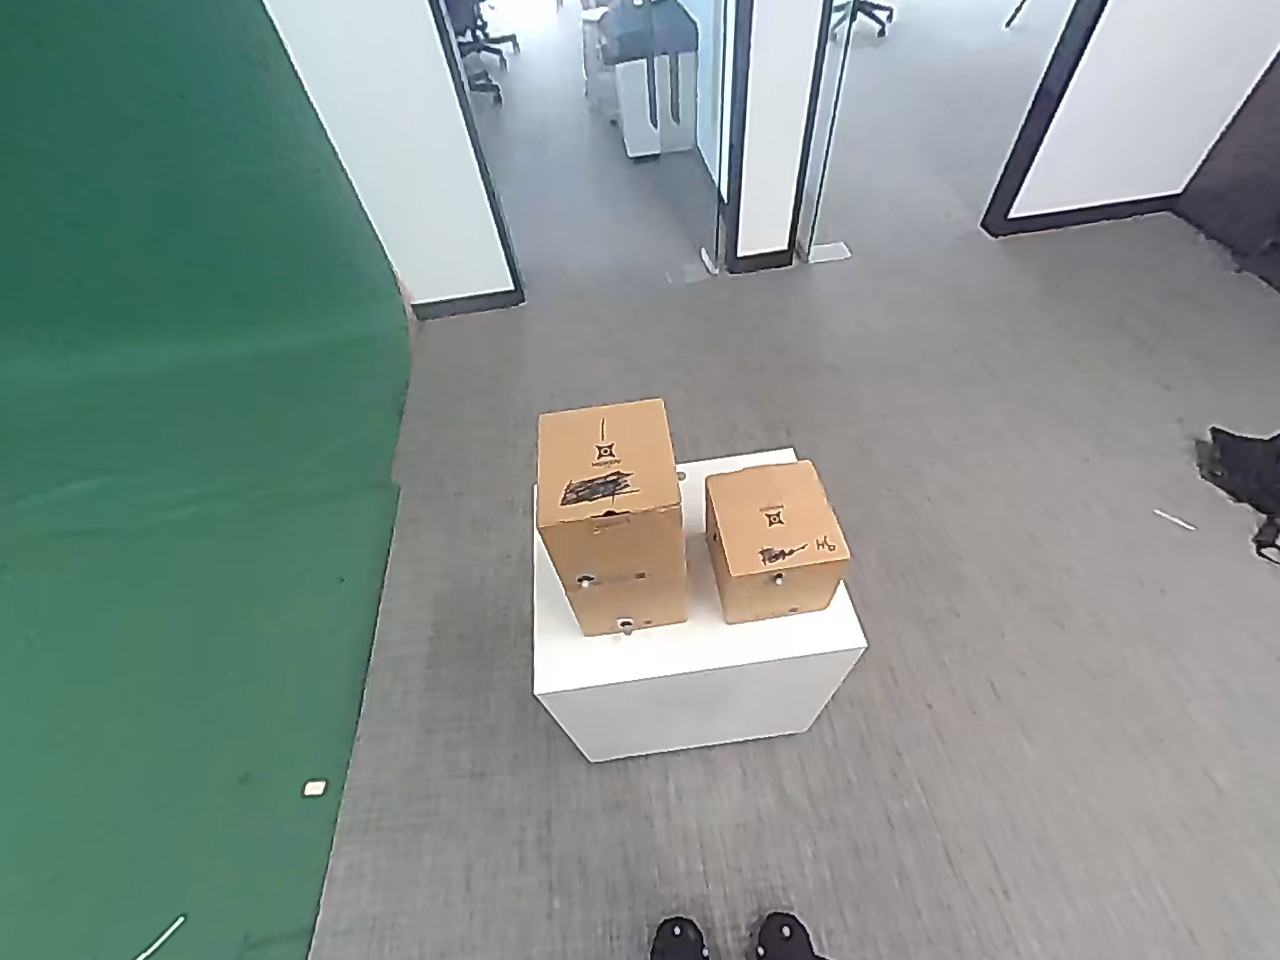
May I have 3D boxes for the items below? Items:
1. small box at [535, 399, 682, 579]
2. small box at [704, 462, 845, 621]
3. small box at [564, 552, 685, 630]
[{"bbox_3d":[-0.037,0.020,0.722,0.168,0.176,0.179,-7,51,1],"label":"small box"},{"bbox_3d":[0.194,0.098,0.844,0.168,0.176,0.179,-8,51,0],"label":"small box"},{"bbox_3d":[-0.026,0.111,0.839,0.168,0.176,0.179,-10,54,-1],"label":"small box"}]
